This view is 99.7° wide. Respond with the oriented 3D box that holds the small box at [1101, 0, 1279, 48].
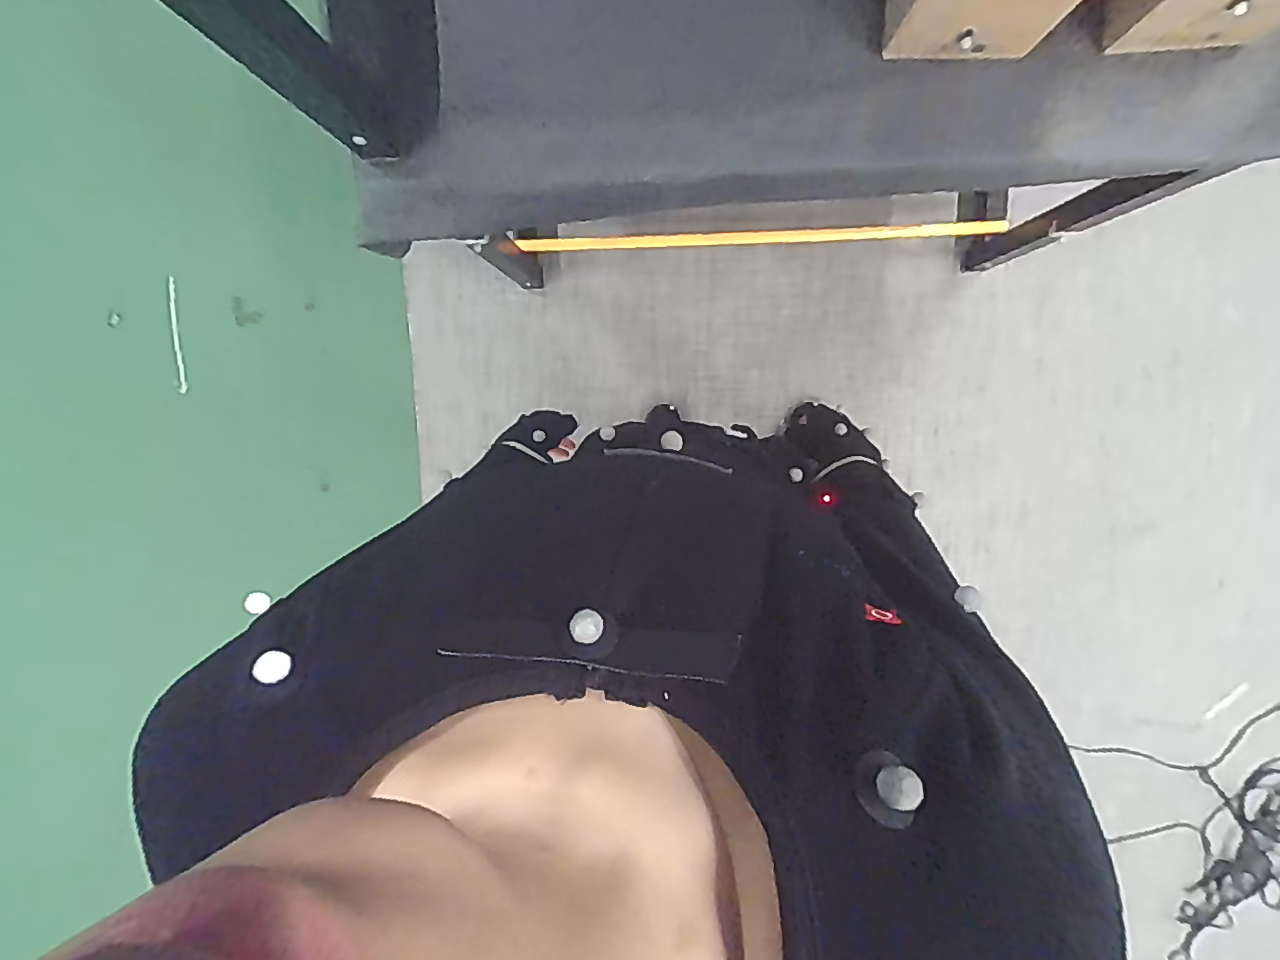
[{"bbox_3d":[0.611,-0.572,0.541,0.168,0.176,0.179,-2,97,3],"label":"small box"}]
